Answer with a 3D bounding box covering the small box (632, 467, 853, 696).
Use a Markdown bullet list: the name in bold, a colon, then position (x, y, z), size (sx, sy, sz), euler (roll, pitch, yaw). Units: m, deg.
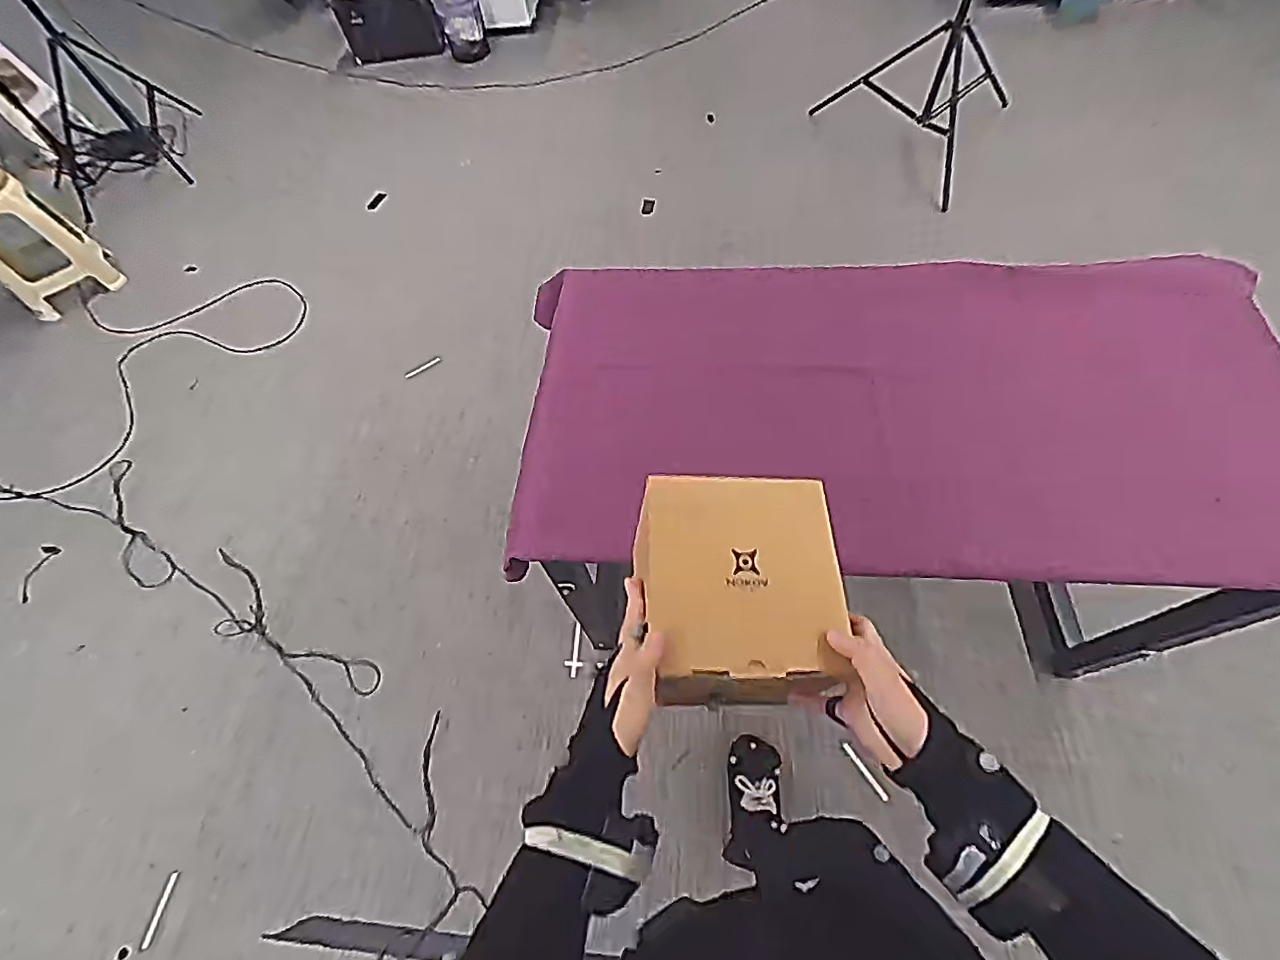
- **small box**: position (0.080, 0.106, 0.530), size (0.168, 0.176, 0.179), euler (2, 61, -5)
